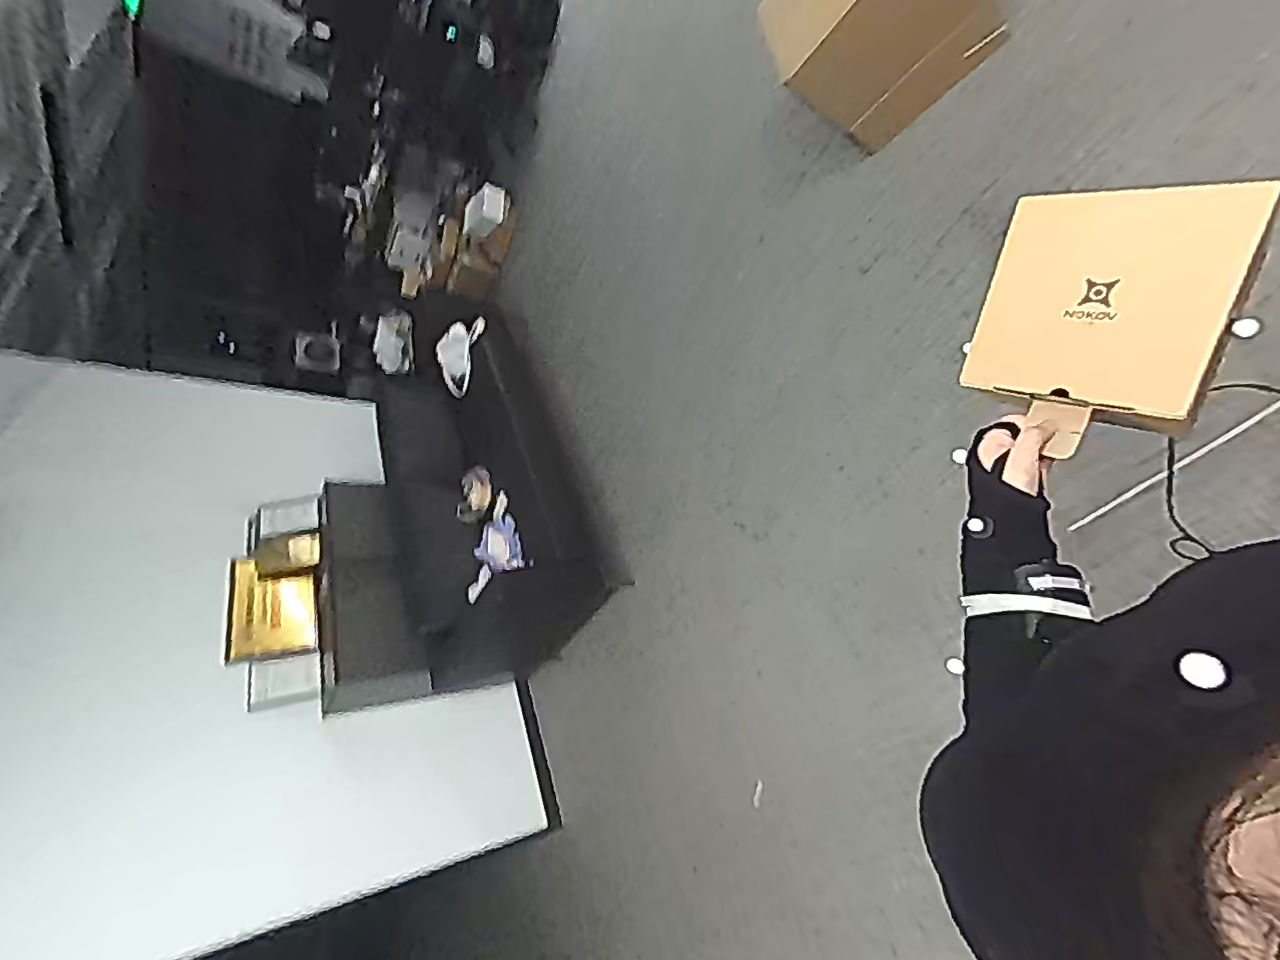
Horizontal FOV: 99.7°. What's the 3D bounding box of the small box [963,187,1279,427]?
[{"bbox_3d":[0.449,-0.157,0.521,0.168,0.176,0.179,25,108,43],"label":"small box"}]
